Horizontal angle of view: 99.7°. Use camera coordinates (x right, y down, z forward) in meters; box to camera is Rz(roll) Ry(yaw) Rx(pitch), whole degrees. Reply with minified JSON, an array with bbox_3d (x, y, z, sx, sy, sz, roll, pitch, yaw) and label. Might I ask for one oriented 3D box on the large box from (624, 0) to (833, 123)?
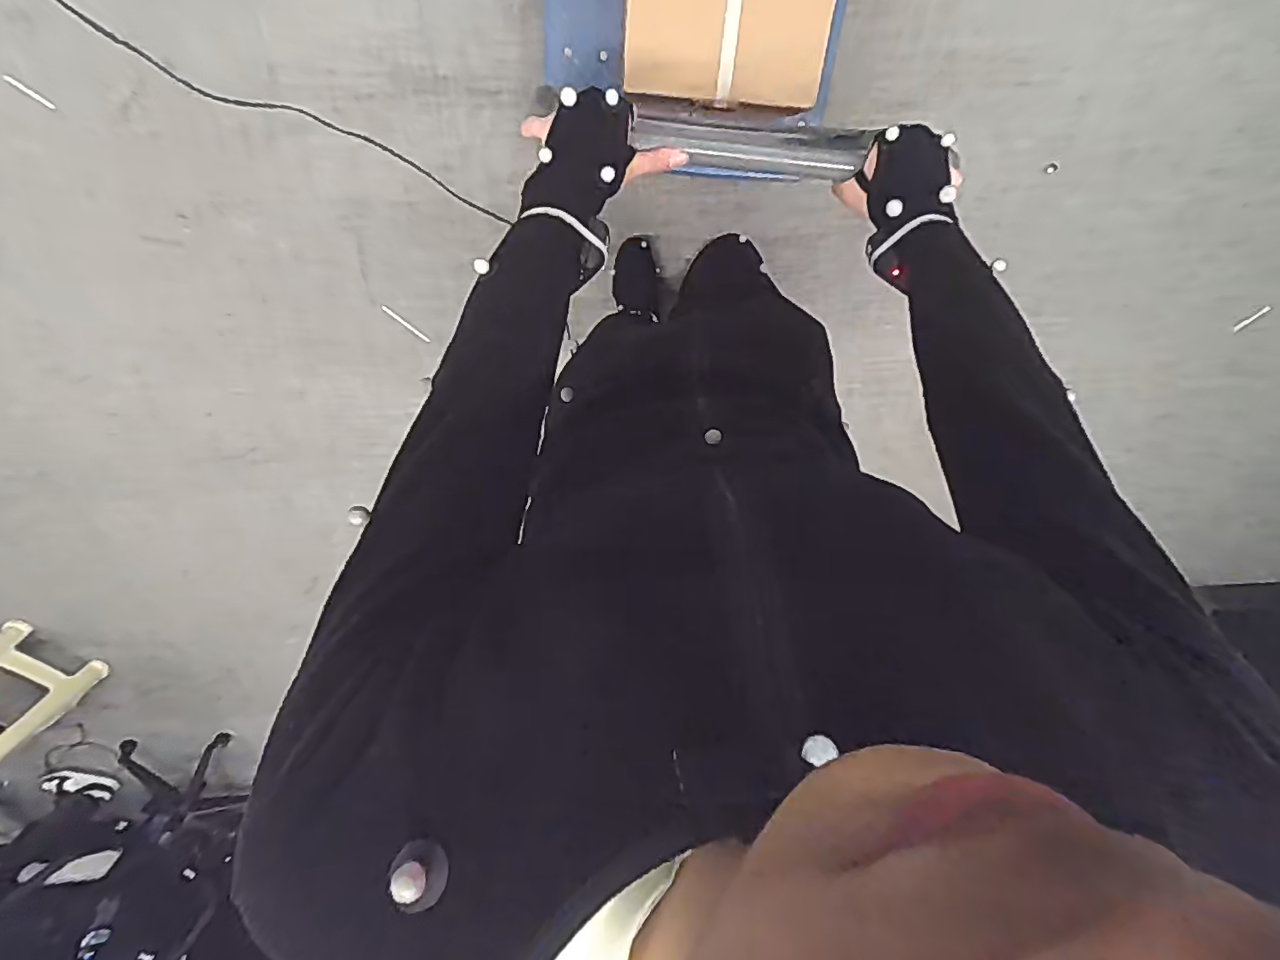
[{"bbox_3d":[0.137,-0.853,0.900,0.320,0.320,0.408,3,119,-4],"label":"large box"}]
